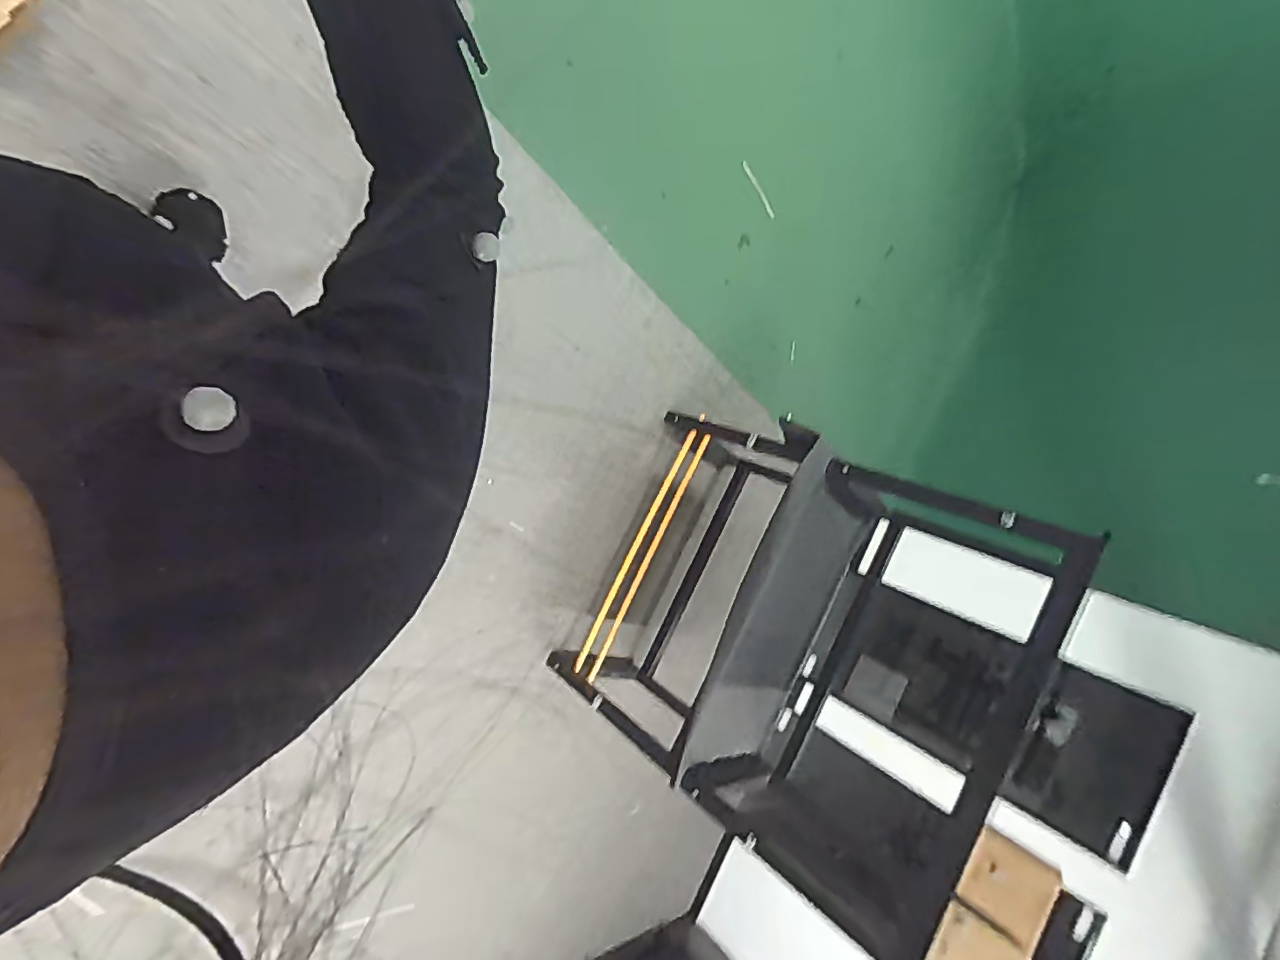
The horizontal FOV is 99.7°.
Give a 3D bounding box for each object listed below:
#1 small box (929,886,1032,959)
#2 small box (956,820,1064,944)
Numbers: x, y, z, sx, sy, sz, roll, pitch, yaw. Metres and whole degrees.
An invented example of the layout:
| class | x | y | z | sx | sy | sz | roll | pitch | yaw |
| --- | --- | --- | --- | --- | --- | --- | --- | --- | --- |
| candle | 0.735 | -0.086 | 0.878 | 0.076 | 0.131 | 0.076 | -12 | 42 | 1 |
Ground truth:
| class | x | y | z | sx | sy | sz | roll | pitch | yaw |
| --- | --- | --- | --- | --- | --- | --- | --- | --- | --- |
| small box | 0.823 | 1.132 | 1.311 | 0.179 | 0.176 | 0.168 | 33 | 82 | -50 |
| small box | 0.901 | 0.968 | 1.324 | 0.179 | 0.176 | 0.168 | 34 | 82 | -48 |
